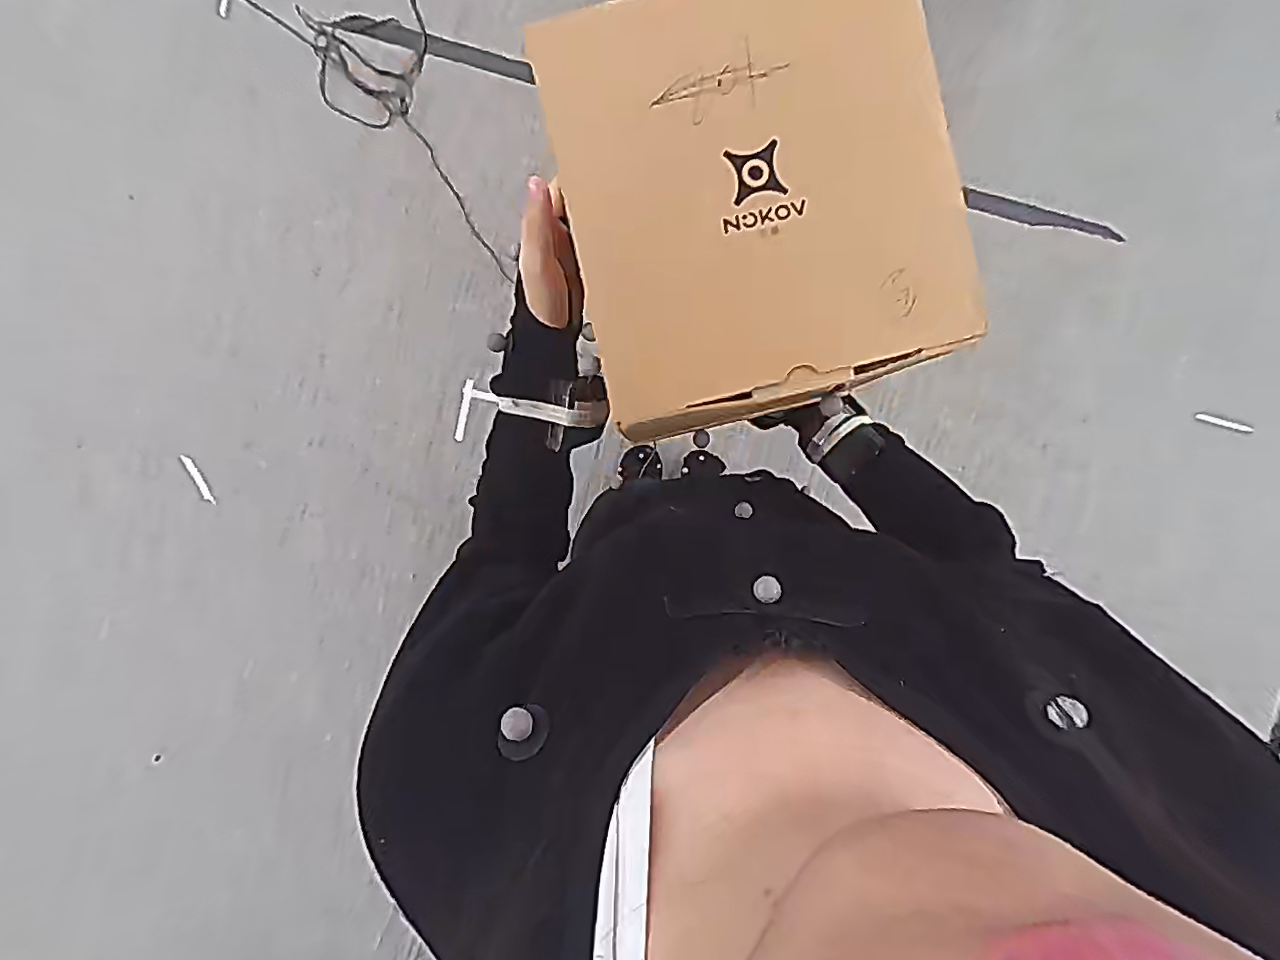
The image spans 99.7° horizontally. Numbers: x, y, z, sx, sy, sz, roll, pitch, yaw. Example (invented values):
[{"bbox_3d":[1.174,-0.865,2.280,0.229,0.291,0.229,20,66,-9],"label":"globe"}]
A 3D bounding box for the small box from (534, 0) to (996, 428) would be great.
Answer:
[{"bbox_3d":[0.054,-0.131,0.309,0.168,0.176,0.179,-14,91,0],"label":"small box"}]
